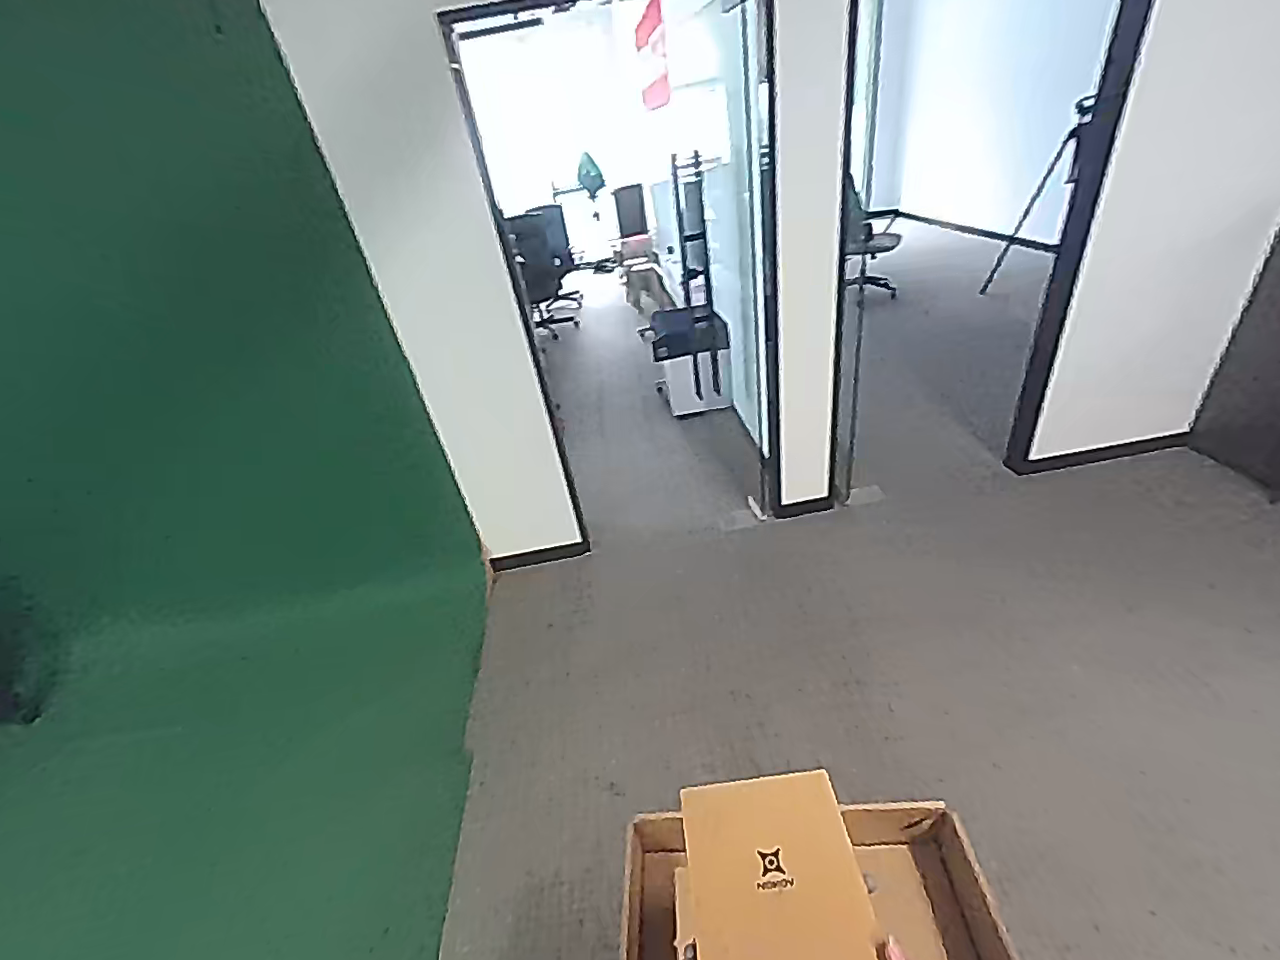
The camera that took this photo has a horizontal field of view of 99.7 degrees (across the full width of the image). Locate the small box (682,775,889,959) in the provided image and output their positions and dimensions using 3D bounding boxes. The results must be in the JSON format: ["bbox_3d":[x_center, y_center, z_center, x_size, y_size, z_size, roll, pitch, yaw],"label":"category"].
[{"bbox_3d":[0.139,0.448,0.570,0.168,0.176,0.179,-8,35,1],"label":"small box"}]
